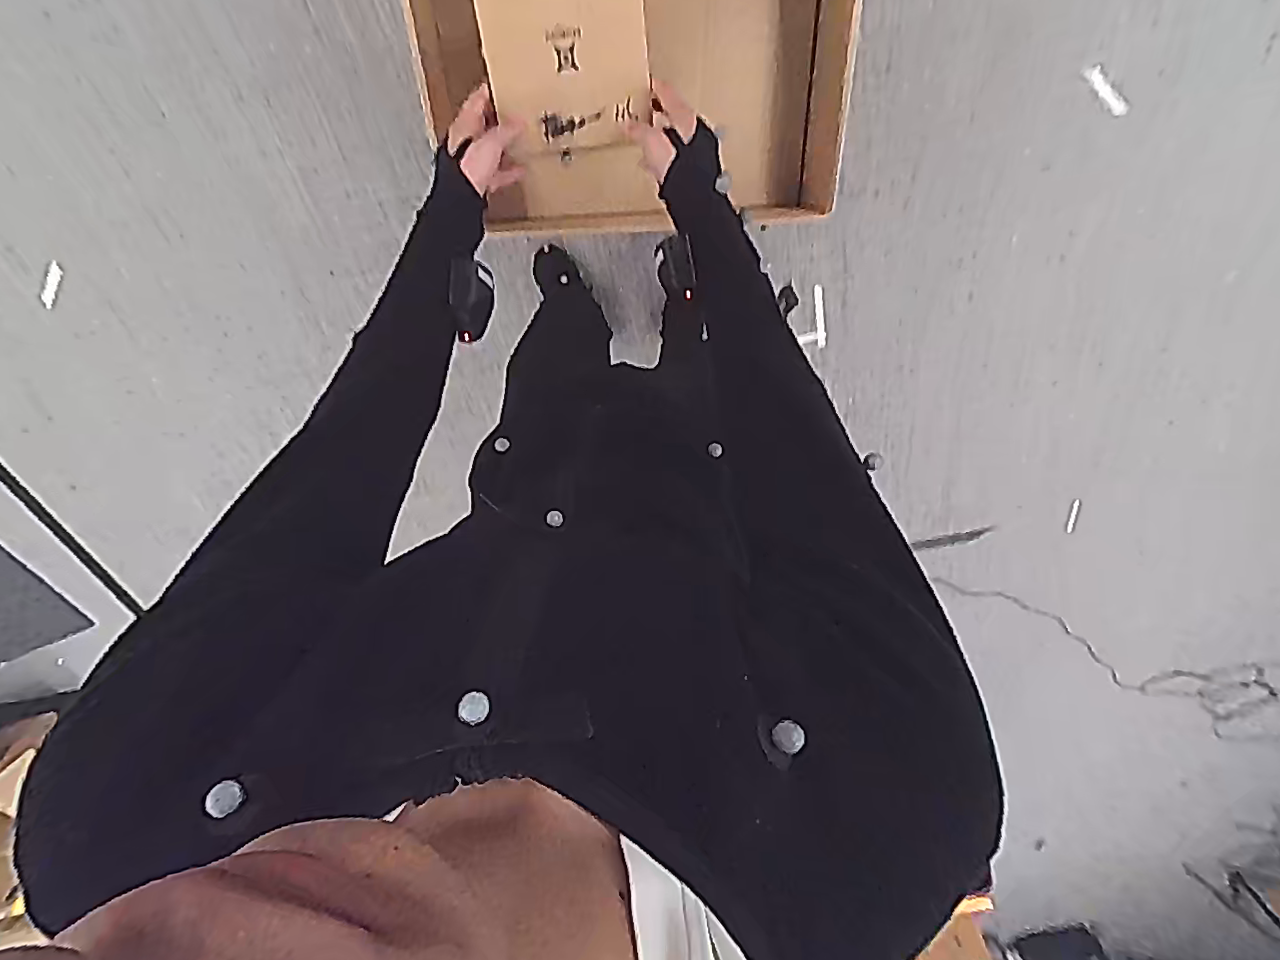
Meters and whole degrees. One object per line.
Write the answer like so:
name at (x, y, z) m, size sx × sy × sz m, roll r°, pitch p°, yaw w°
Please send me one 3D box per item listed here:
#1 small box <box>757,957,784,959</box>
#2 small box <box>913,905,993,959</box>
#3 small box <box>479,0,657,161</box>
small box at (0.475, 1.914, 2.010) m, size 0.179 × 0.176 × 0.168 m, roll -11°, pitch 120°, yaw 3°
small box at (1.067, 1.597, 1.855) m, size 0.179 × 0.176 × 0.168 m, roll -7°, pitch 122°, yaw 1°
small box at (-0.075, -0.470, 0.608) m, size 0.168 × 0.176 × 0.179 m, roll -7°, pitch 119°, yaw 0°
